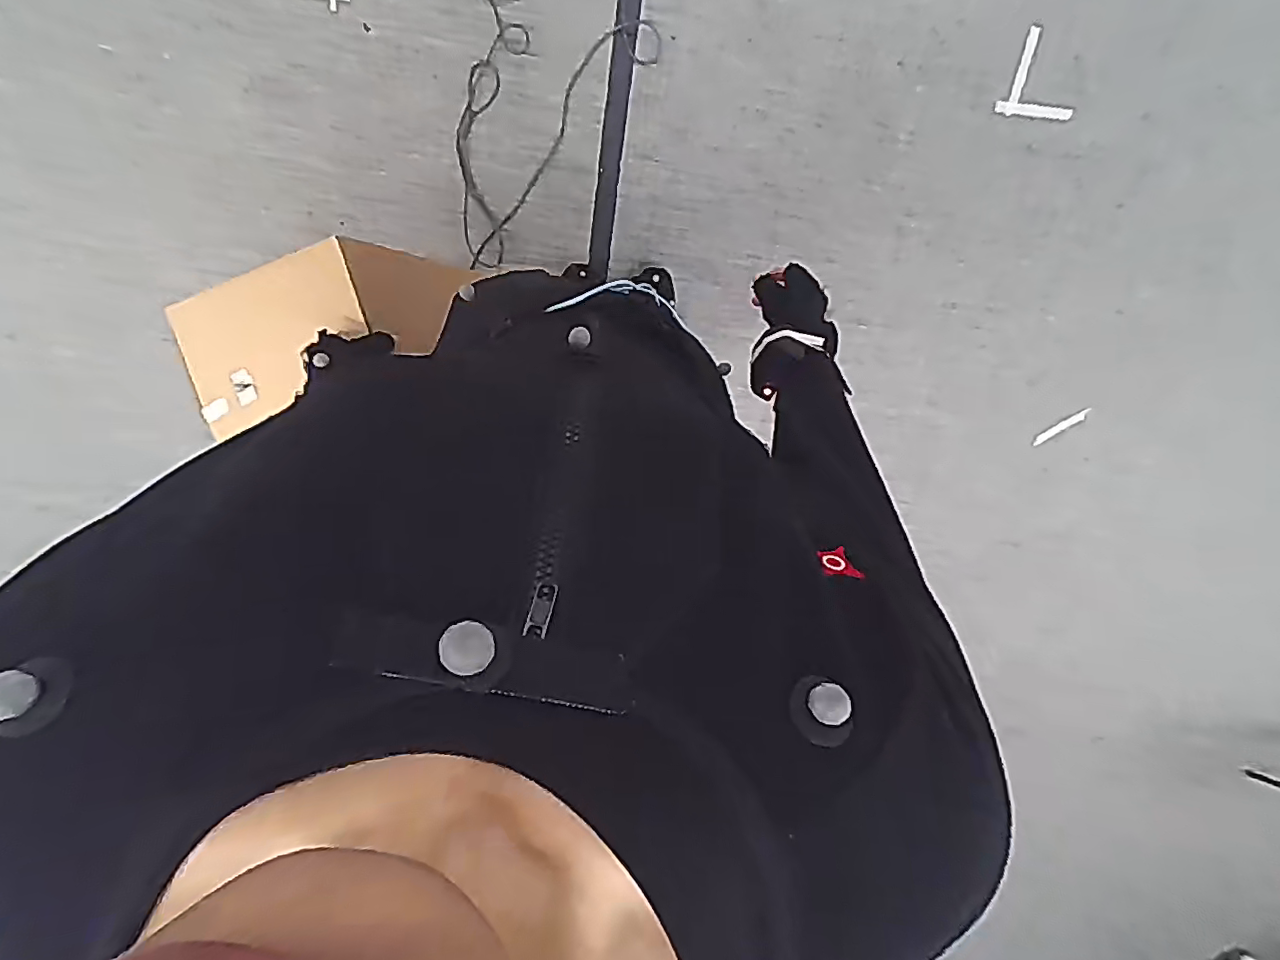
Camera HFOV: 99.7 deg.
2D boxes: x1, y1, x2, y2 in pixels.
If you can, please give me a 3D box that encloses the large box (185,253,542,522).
[{"bbox_3d":[-0.421,-0.153,0.924,0.320,0.408,0.320,-12,99,15],"label":"large box"}]
